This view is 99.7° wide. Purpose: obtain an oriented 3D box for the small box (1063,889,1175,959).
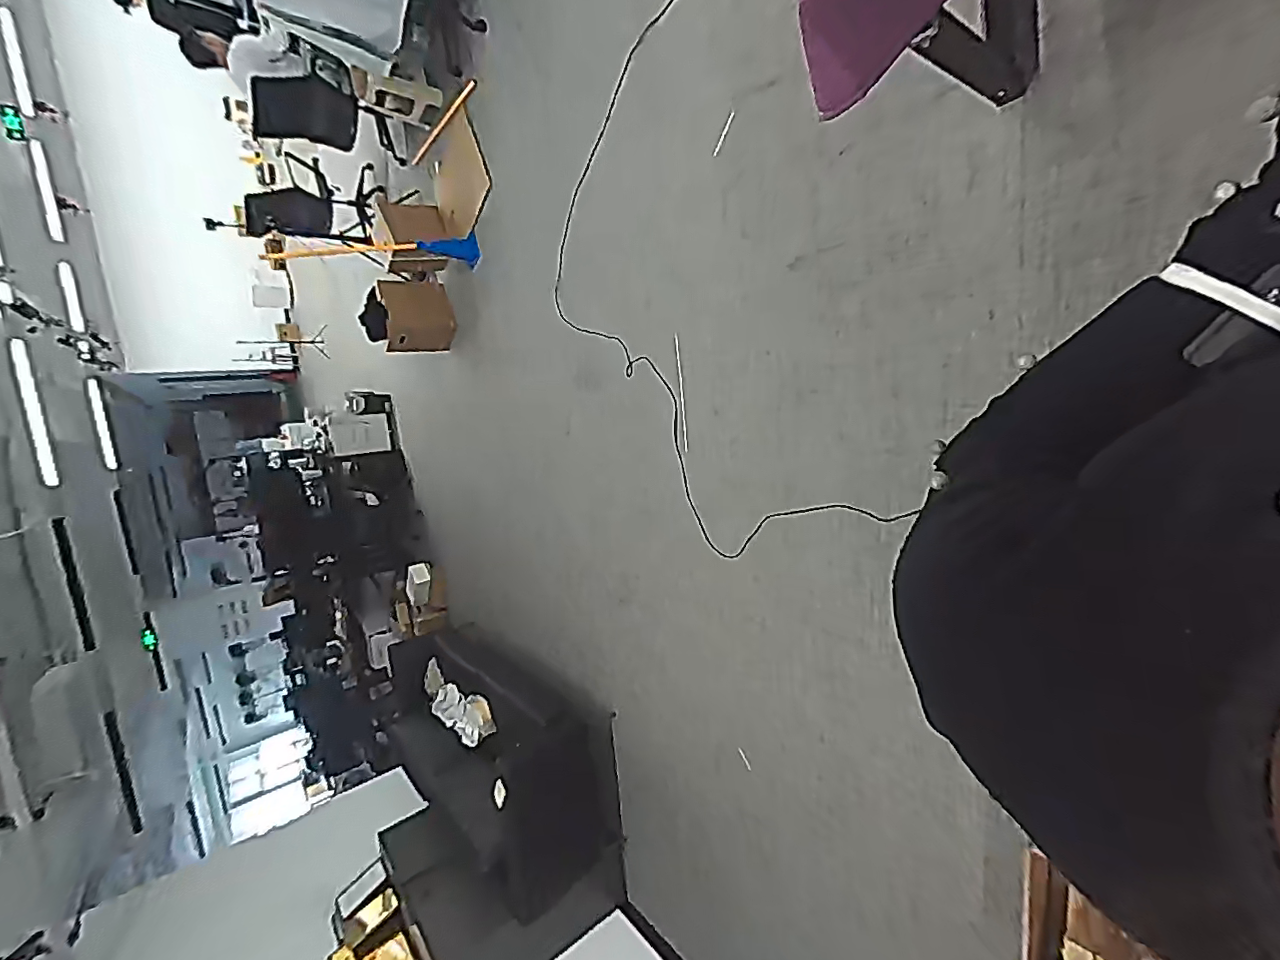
[{"bbox_3d":[1.088,1.095,1.230,0.168,0.176,0.179,6,103,52],"label":"small box"}]
